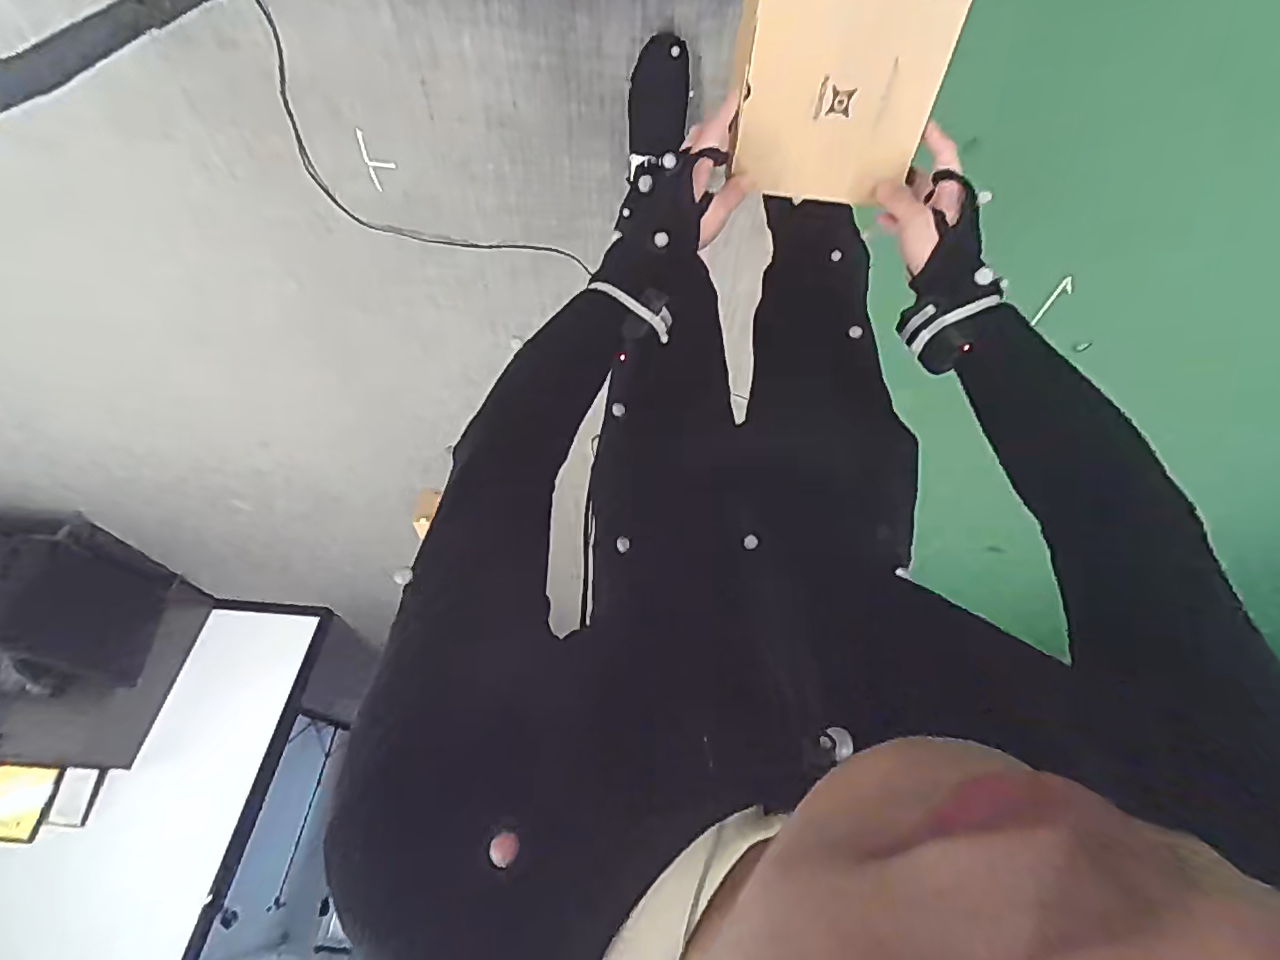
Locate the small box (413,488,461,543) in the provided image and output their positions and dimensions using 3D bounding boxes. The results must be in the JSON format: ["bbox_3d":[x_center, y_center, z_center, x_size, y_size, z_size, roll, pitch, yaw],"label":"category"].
[{"bbox_3d":[-0.890,0.156,2.384,0.168,0.176,0.179,10,145,-11],"label":"small box"}]

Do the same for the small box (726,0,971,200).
[{"bbox_3d":[0.188,-0.407,0.552,0.179,0.176,0.168,7,132,0],"label":"small box"}]
